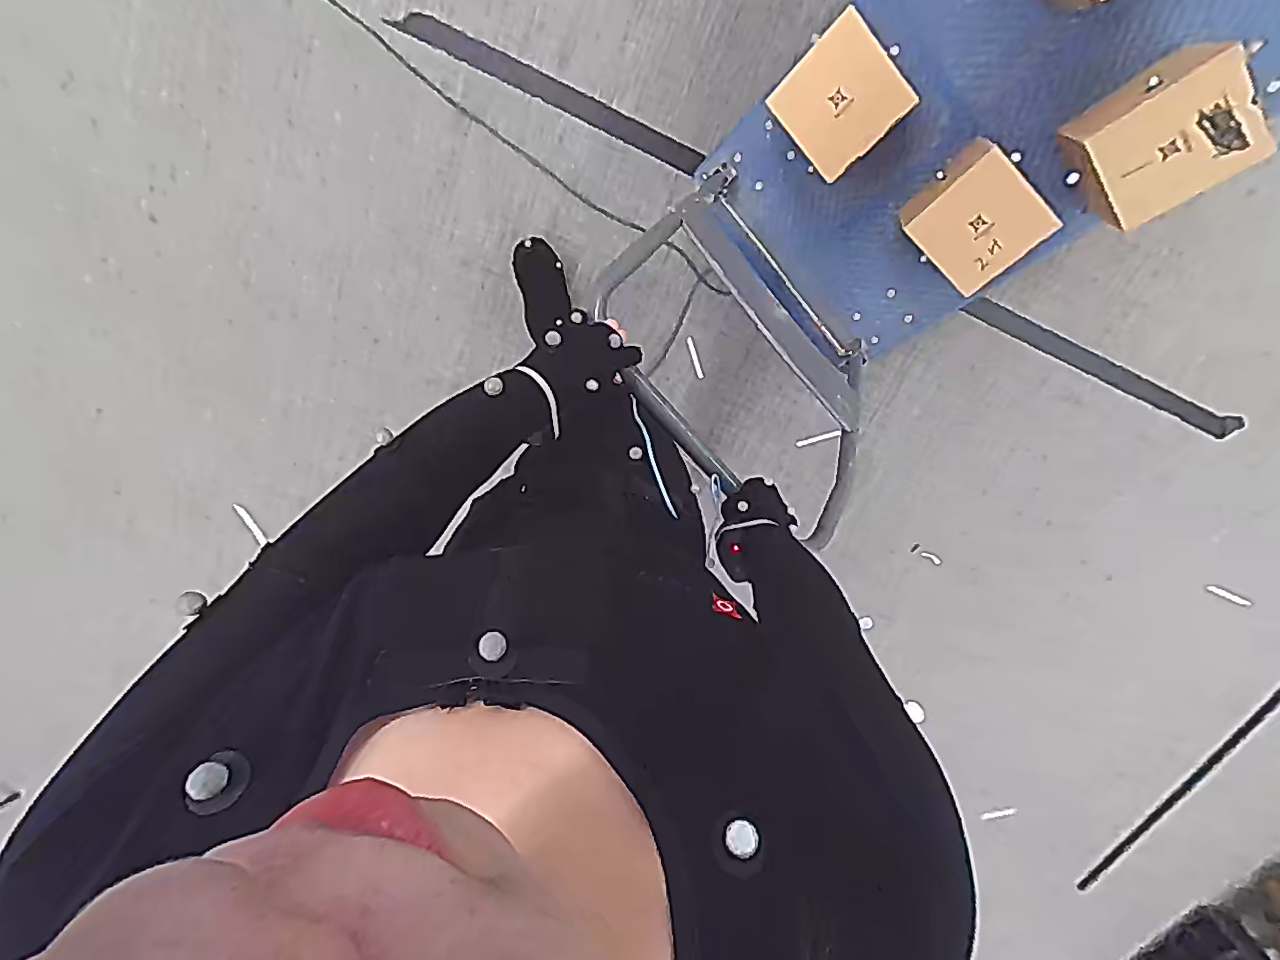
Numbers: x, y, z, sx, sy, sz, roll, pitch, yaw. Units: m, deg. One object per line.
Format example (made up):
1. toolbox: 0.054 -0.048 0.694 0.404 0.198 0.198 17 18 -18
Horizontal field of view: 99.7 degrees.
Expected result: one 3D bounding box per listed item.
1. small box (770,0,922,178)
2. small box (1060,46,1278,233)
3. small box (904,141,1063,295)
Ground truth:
1. small box: 0.346 -0.656 0.920 0.179 0.176 0.168 43 129 -15
2. small box: 0.799 -0.524 0.835 0.179 0.176 0.168 -28 111 37
3. small box: 0.593 -0.469 0.960 0.179 0.176 0.168 41 130 -11
